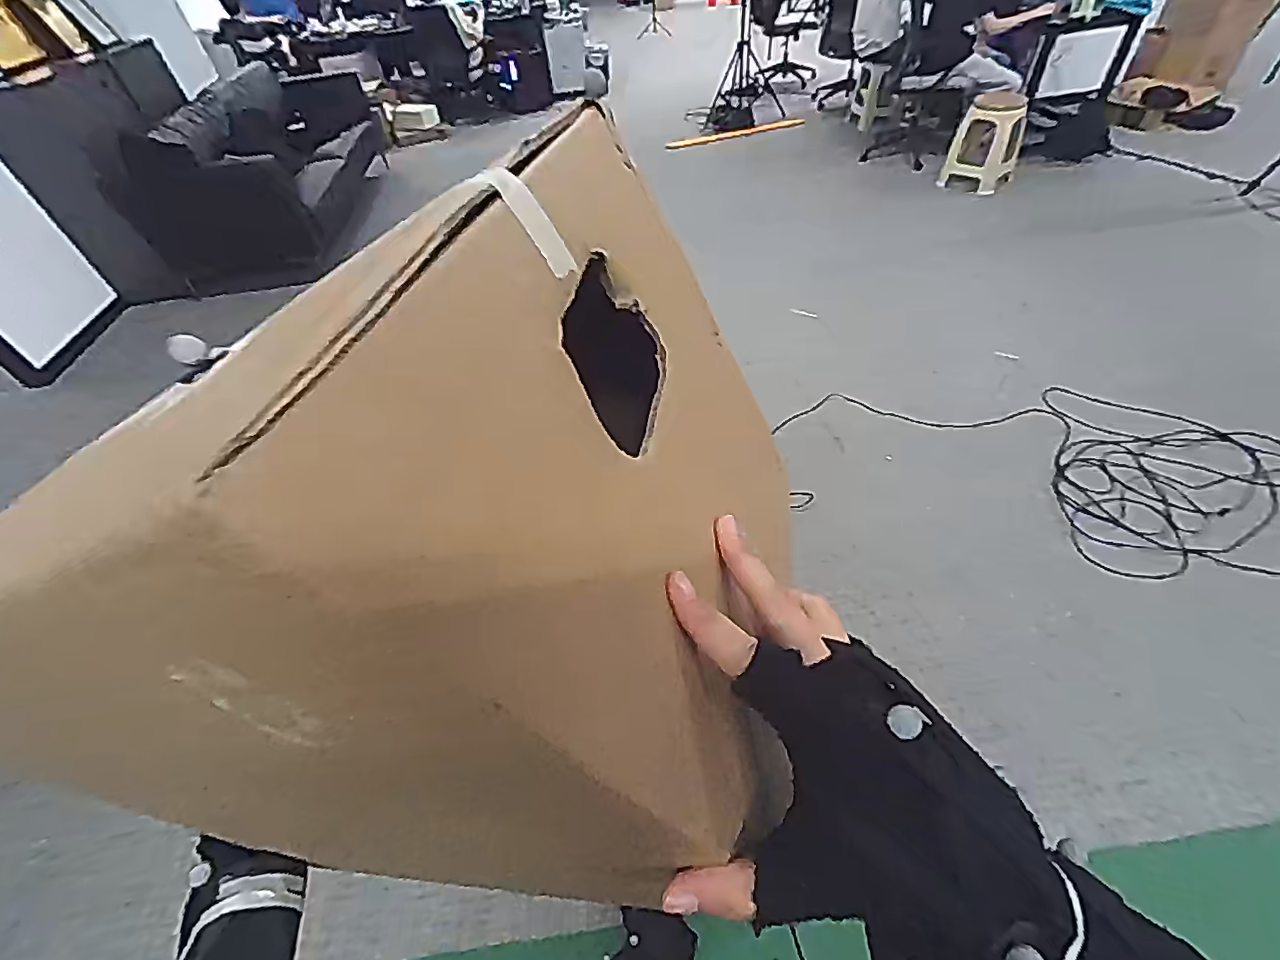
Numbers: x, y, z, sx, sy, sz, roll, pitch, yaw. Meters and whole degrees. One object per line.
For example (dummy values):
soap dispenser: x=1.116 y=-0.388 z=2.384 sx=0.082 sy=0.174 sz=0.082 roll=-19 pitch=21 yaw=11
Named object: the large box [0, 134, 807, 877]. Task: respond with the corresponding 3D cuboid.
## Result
large box: x=-0.132 y=0.048 z=0.383 sx=0.408 sy=0.320 sz=0.320 roll=-16 pitch=39 yaw=26
